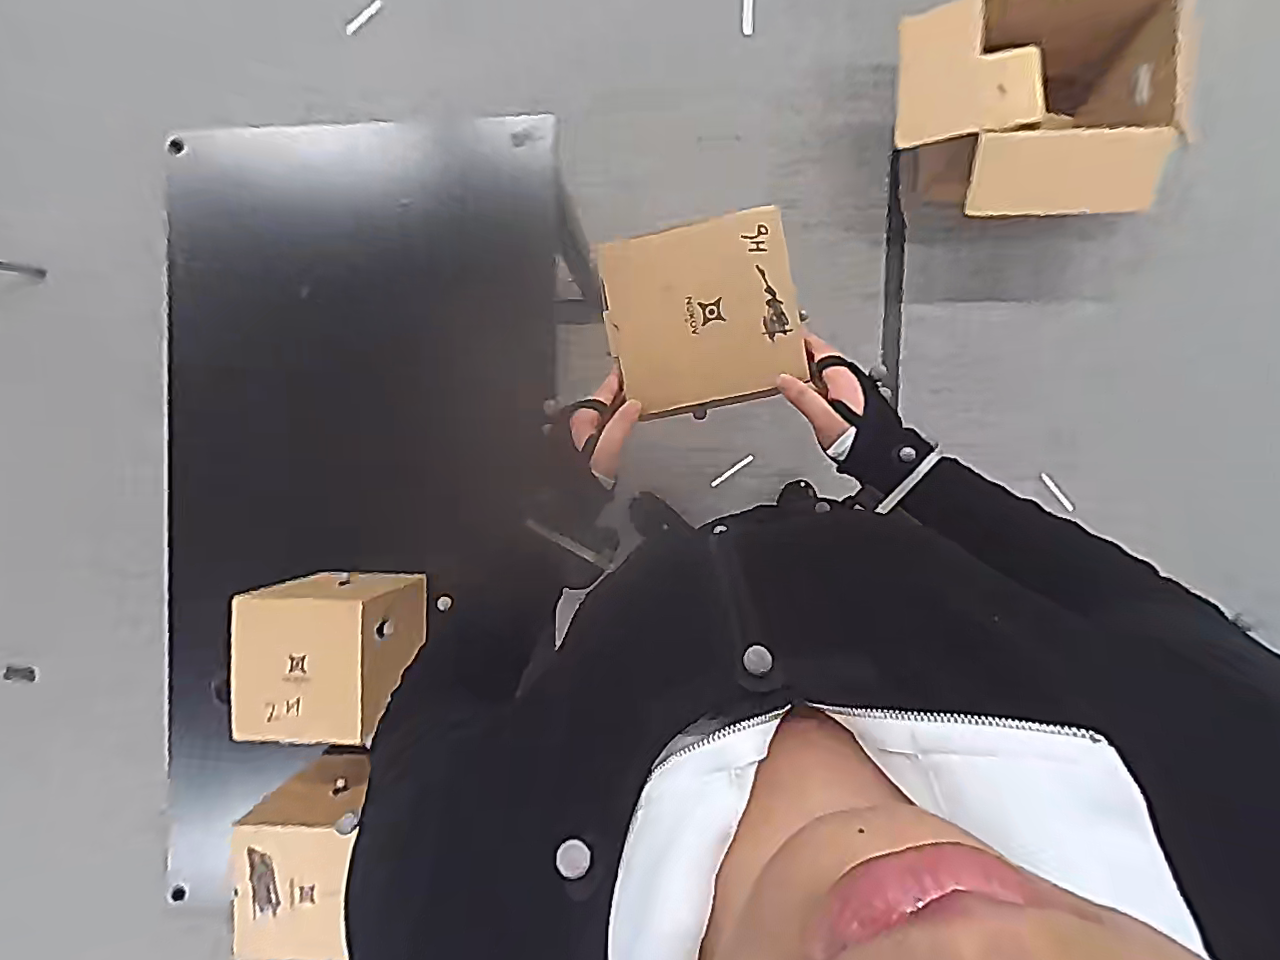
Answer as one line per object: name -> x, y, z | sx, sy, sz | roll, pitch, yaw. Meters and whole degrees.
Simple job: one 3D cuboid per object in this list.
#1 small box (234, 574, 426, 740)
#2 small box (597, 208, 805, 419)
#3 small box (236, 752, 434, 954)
small box -> -0.409, 0.227, 0.737 | 0.168, 0.176, 0.179 | 0, 91, 4
small box -> 0.064, -0.163, 0.589 | 0.179, 0.176, 0.168 | -10, 94, 5
small box -> -0.405, 0.494, 0.741 | 0.179, 0.176, 0.168 | -2, 91, 3
